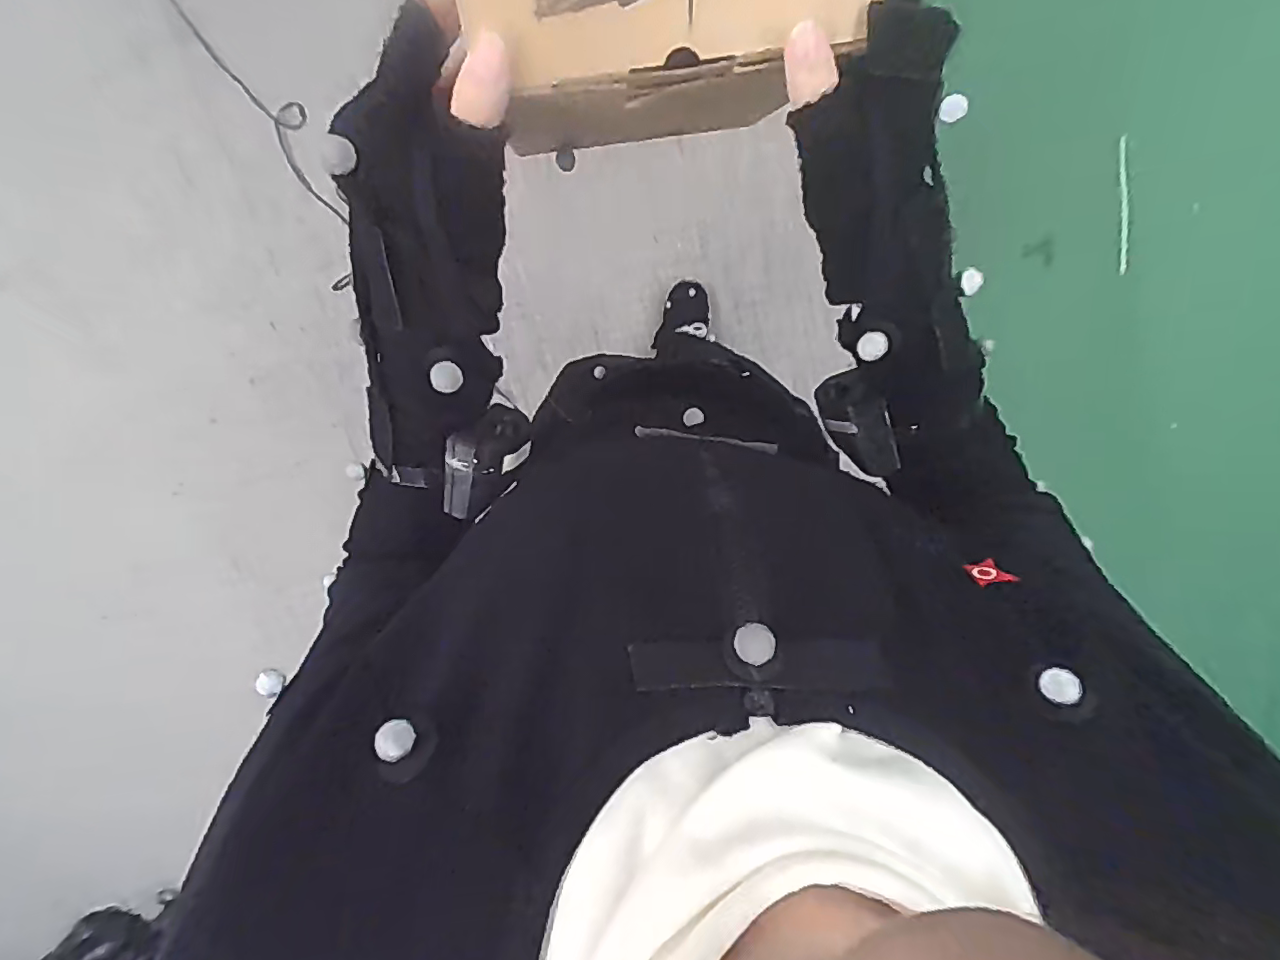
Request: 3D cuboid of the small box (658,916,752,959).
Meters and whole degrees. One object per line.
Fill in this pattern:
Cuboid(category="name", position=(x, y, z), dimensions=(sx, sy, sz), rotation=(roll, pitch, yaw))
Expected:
Cuboid(category="small box", position=(0.135, 0.958, 0.989), dimensions=(0.168, 0.176, 0.179), rotation=(-18, 103, 2))

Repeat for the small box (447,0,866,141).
Cuboid(category="small box", position=(-0.007, -0.278, 0.255), dimensions=(0.168, 0.176, 0.179), rotation=(-10, 113, -2))
